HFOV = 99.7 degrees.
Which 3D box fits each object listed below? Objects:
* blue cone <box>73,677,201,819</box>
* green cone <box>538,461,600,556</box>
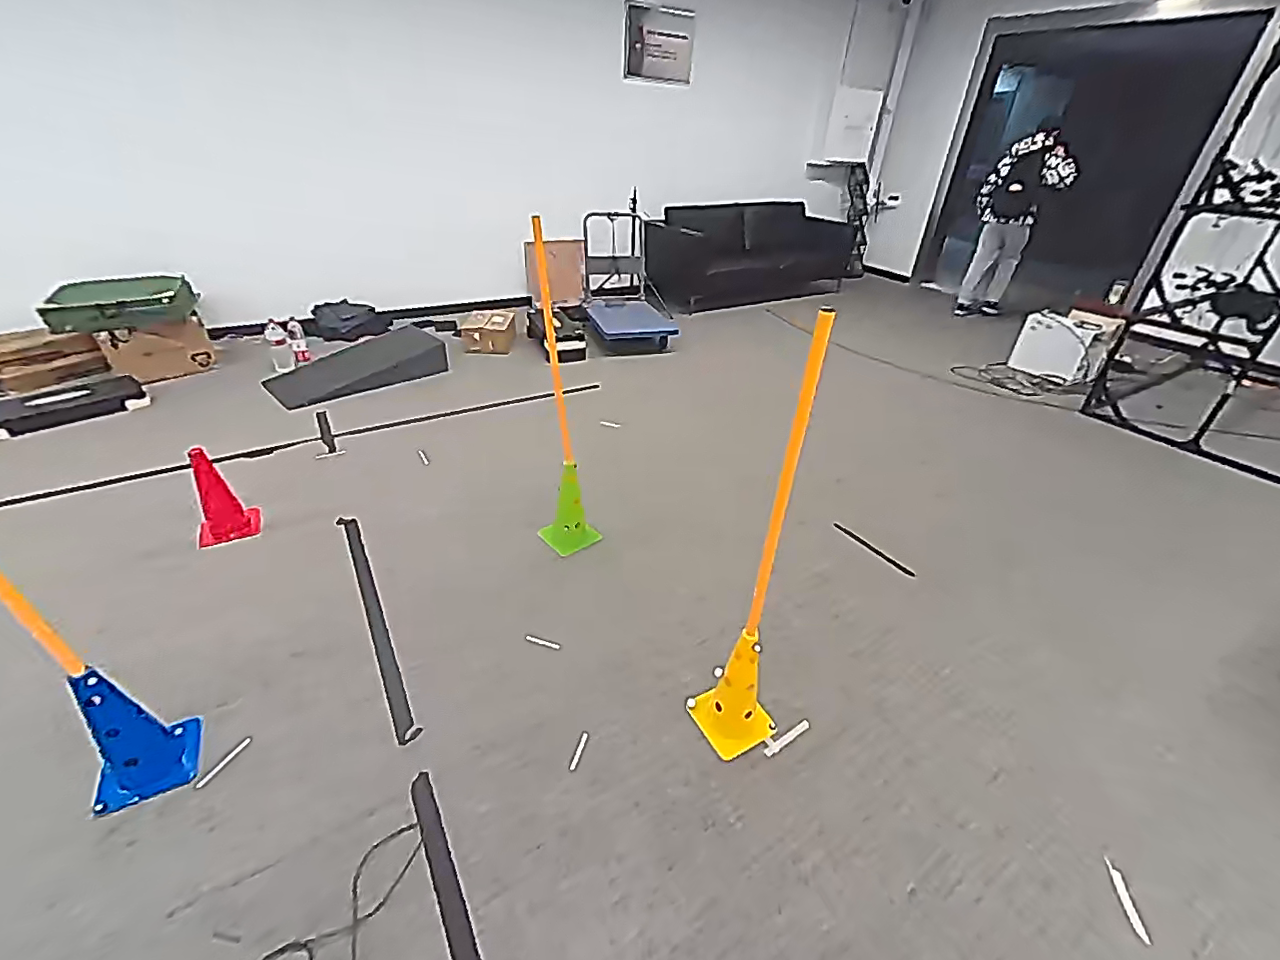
[{"bbox_3d":[-1.219,0.592,1.276,0.193,0.380,0.192,-15,37,-26],"label":"blue cone"},{"bbox_3d":[-0.280,0.086,2.129,0.200,0.368,0.202,-25,43,-36],"label":"green cone"}]
